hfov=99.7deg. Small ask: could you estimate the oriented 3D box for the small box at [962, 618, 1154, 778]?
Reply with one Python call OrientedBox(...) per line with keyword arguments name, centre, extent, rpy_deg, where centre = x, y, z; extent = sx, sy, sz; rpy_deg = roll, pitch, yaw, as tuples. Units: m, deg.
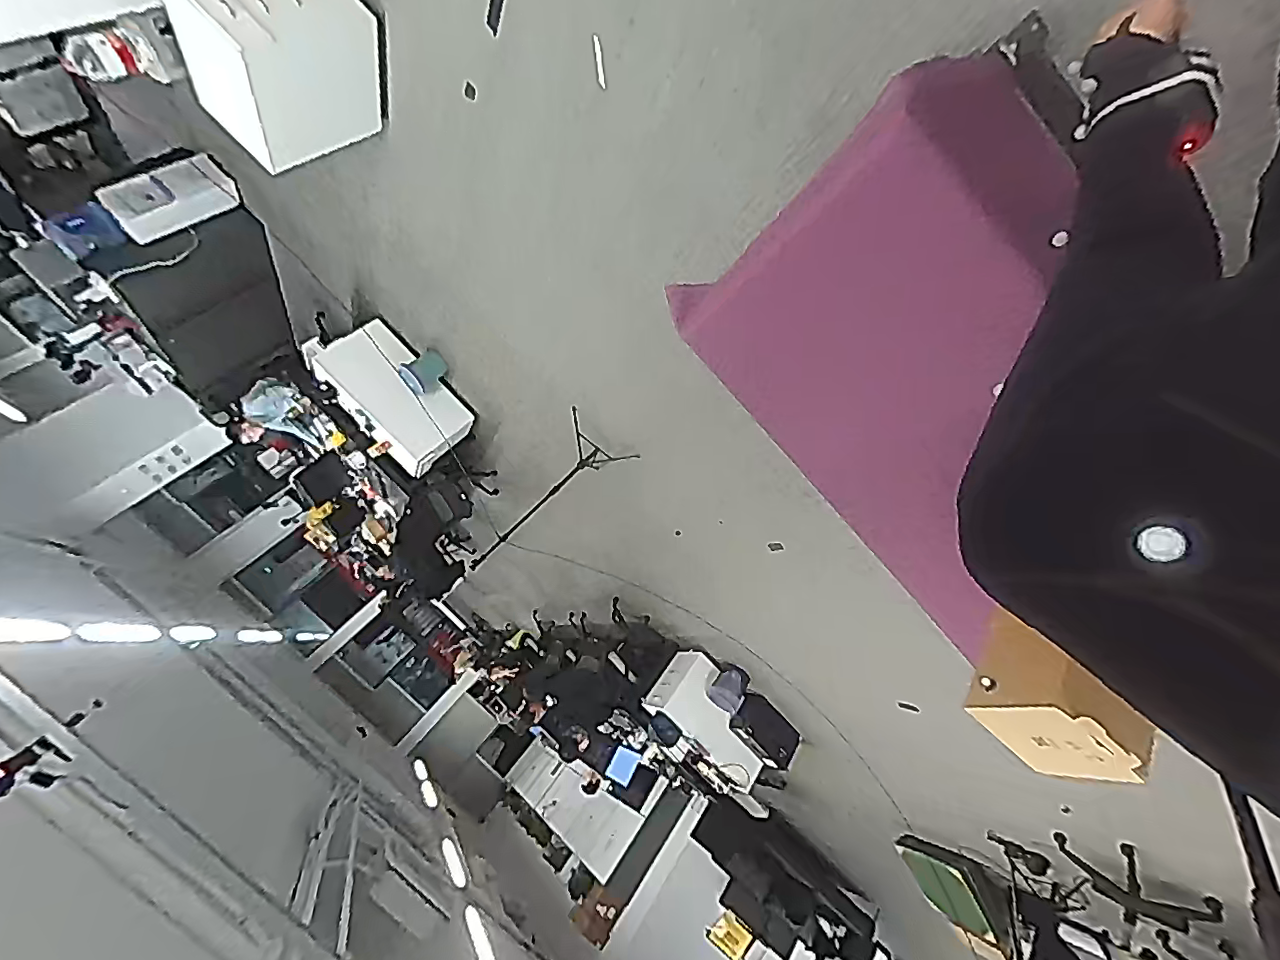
OrientedBox(name="small box", centre=(0.685, 0.353, 0.889), extent=(0.168, 0.176, 0.179), rpy_deg=(41, 151, 3))
